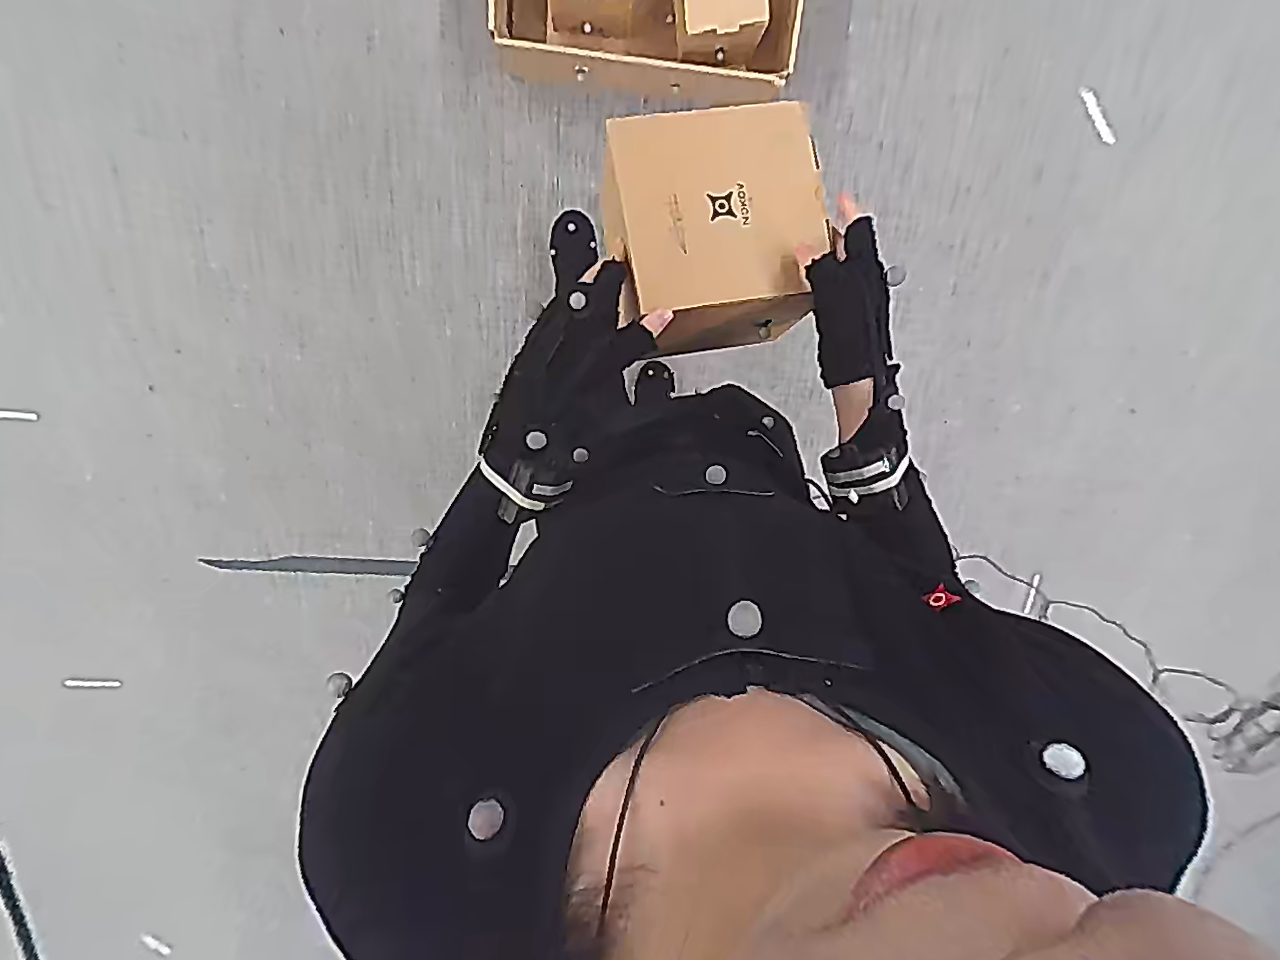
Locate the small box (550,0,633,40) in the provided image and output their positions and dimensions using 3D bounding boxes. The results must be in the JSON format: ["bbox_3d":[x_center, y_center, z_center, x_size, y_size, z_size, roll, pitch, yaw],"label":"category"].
[{"bbox_3d":[-0.096,-1.030,1.078,0.168,0.176,0.179,1,106,-5],"label":"small box"}]

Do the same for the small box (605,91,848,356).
[{"bbox_3d":[0.068,-0.230,0.522,0.179,0.176,0.168,-10,89,-6],"label":"small box"}]
